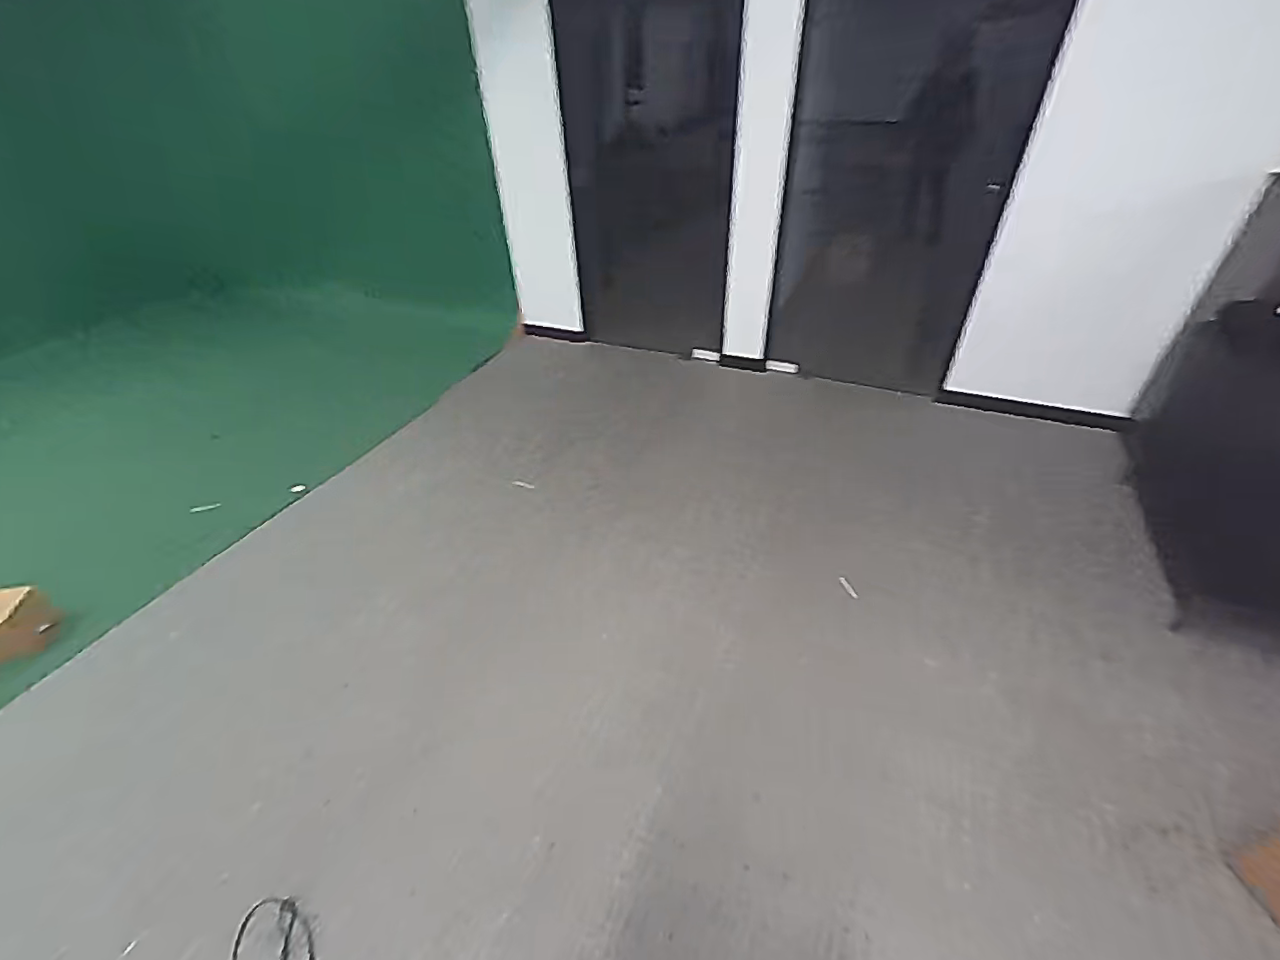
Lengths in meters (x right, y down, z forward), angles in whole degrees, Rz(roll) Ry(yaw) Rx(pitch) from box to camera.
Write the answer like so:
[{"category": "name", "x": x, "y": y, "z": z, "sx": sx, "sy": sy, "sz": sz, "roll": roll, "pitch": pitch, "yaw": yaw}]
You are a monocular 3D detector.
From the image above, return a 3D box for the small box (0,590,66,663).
[{"category": "small box", "x": -2.108, "y": 0.496, "z": 1.803, "sx": 0.179, "sy": 0.176, "sz": 0.168, "roll": -9, "pitch": 39, "yaw": -10}]
